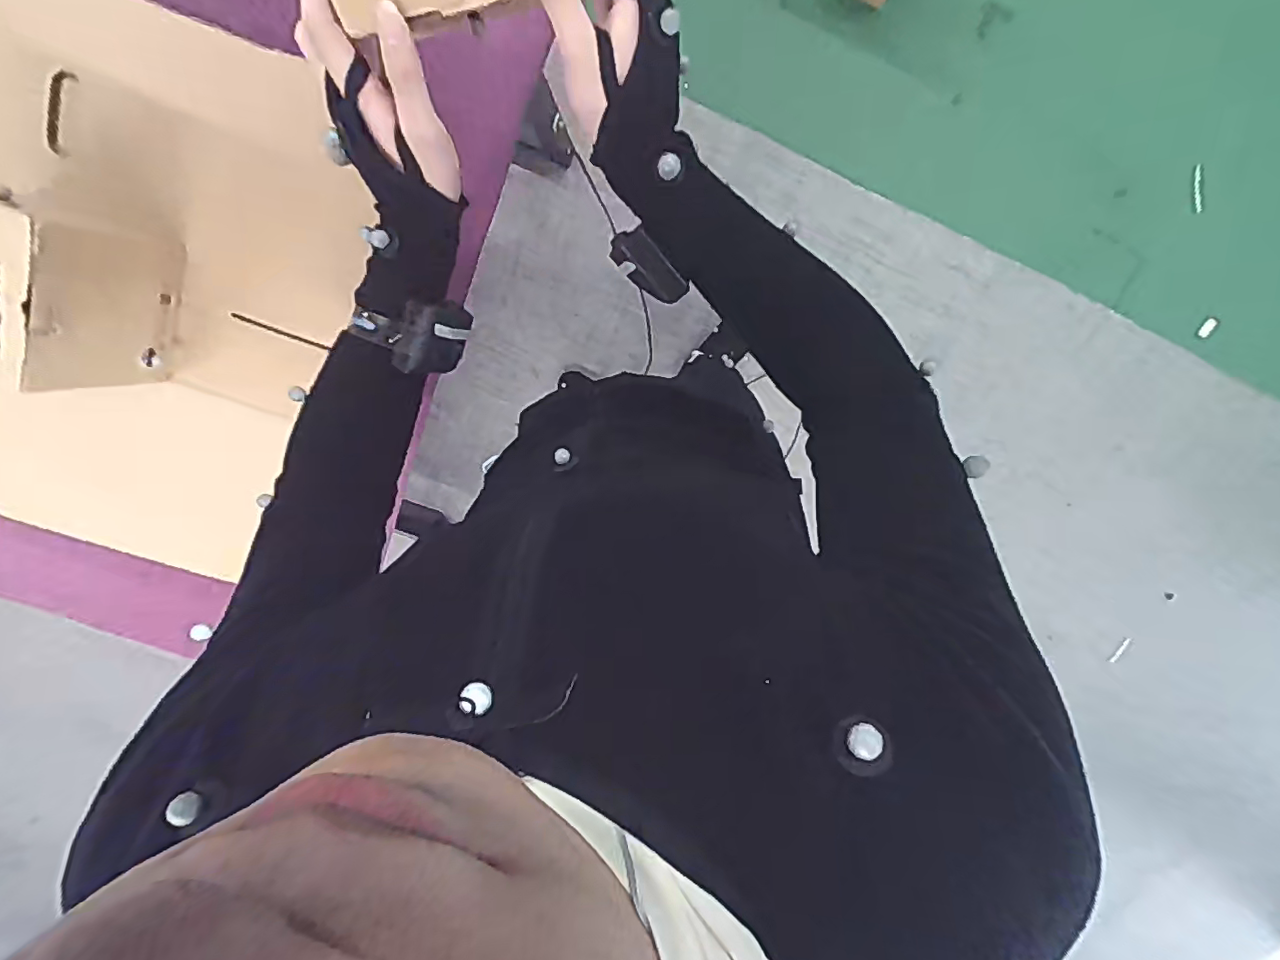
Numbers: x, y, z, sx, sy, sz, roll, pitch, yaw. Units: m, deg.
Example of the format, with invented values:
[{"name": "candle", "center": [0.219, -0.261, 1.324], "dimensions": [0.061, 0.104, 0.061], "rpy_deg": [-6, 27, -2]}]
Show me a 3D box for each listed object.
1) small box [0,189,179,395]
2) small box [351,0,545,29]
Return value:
[{"name": "small box", "center": [-0.637, -0.201, 0.563], "dimensions": [0.179, 0.176, 0.168], "rpy_deg": [19, 103, -5]}, {"name": "small box", "center": [-0.117, -0.406, 0.333], "dimensions": [0.168, 0.176, 0.179], "rpy_deg": [-14, 131, 1]}]
